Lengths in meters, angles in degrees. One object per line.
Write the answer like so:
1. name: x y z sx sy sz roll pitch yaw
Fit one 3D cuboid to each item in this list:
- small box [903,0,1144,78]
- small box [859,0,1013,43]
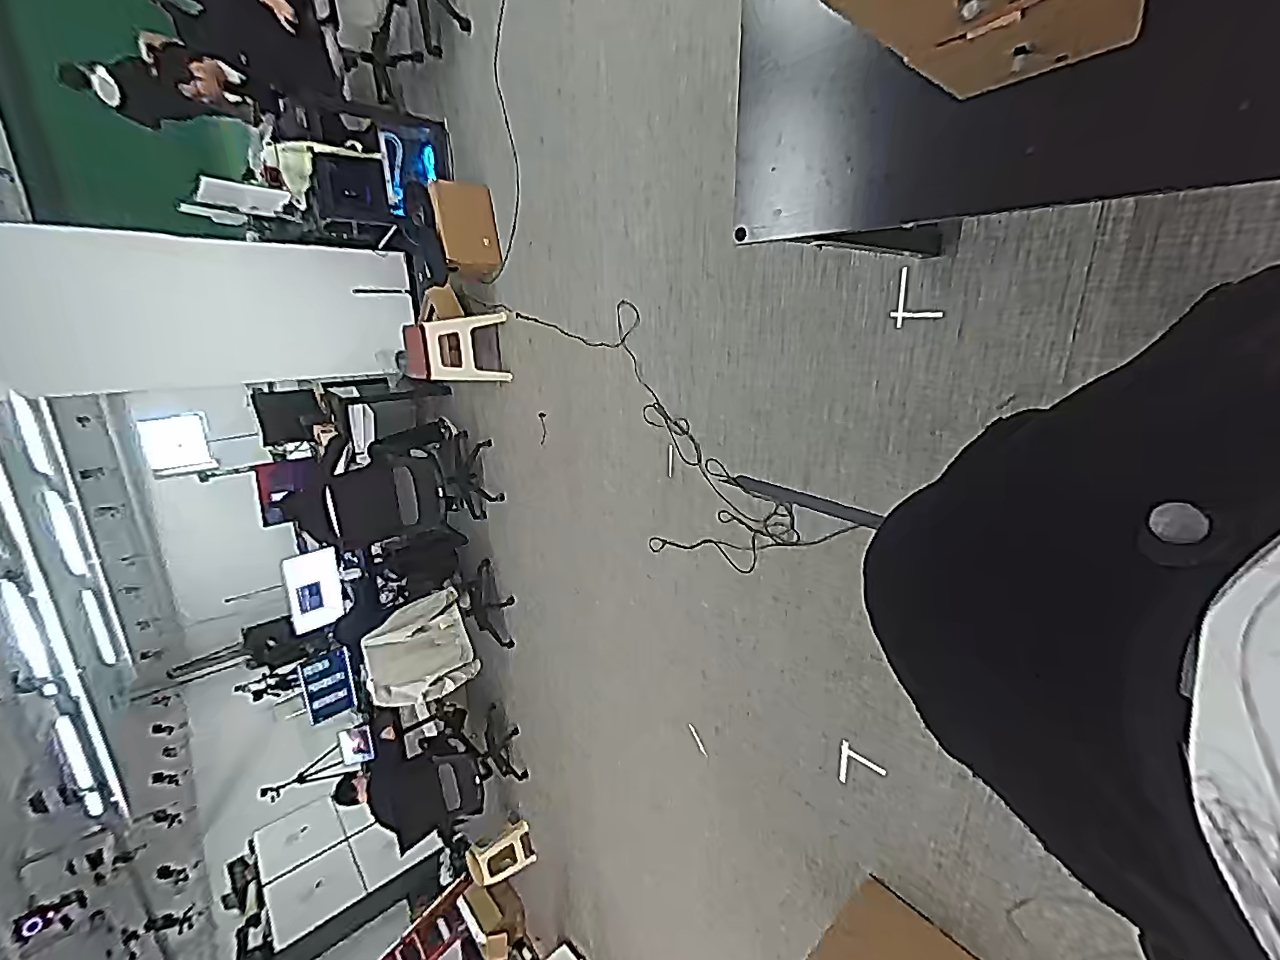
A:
1. small box: 0.382 -0.528 0.529 0.168 0.176 0.179 14 112 49
2. small box: 0.257 -0.499 0.424 0.168 0.176 0.179 11 110 49
